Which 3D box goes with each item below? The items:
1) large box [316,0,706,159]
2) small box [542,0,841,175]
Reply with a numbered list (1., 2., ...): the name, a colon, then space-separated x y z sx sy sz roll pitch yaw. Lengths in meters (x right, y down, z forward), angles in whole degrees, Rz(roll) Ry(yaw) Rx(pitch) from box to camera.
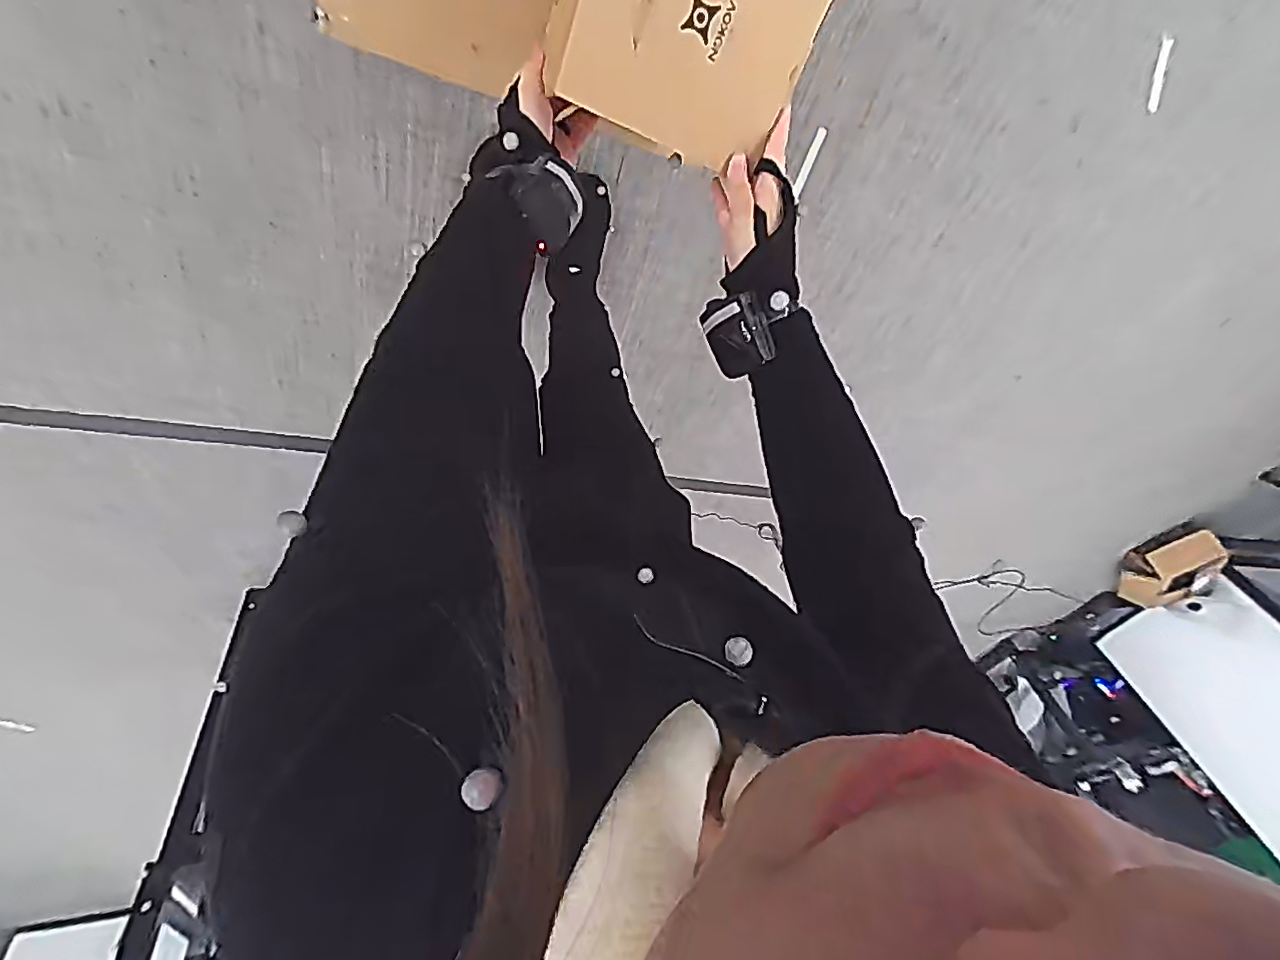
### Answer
1. large box: -0.083 -0.600 0.562 0.408 0.320 0.320 7 132 -21
2. small box: 0.033 -0.380 0.431 0.179 0.176 0.168 11 125 -25
